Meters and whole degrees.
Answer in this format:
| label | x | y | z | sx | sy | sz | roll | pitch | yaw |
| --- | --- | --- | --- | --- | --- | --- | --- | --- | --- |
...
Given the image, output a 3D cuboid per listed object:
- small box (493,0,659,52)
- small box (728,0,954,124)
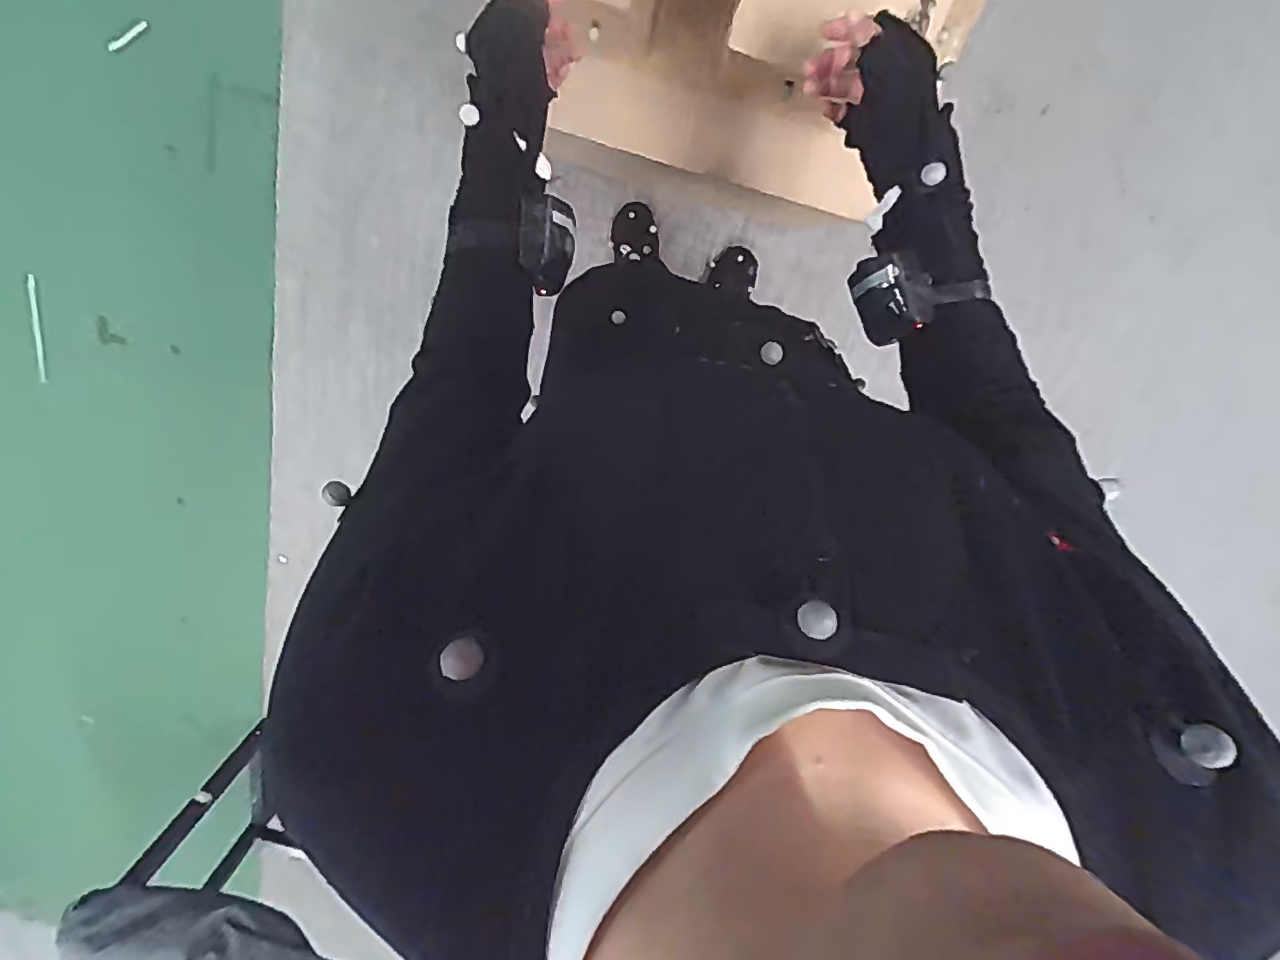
| label | x | y | z | sx | sy | sz | roll | pitch | yaw |
| --- | --- | --- | --- | --- | --- | --- | --- | --- | --- |
| small box | -0.059 | -0.543 | 0.515 | 0.179 | 0.176 | 0.168 | 16 | 117 | -1 |
| small box | 0.193 | -0.469 | 0.524 | 0.179 | 0.176 | 0.168 | 18 | 119 | -3 |
